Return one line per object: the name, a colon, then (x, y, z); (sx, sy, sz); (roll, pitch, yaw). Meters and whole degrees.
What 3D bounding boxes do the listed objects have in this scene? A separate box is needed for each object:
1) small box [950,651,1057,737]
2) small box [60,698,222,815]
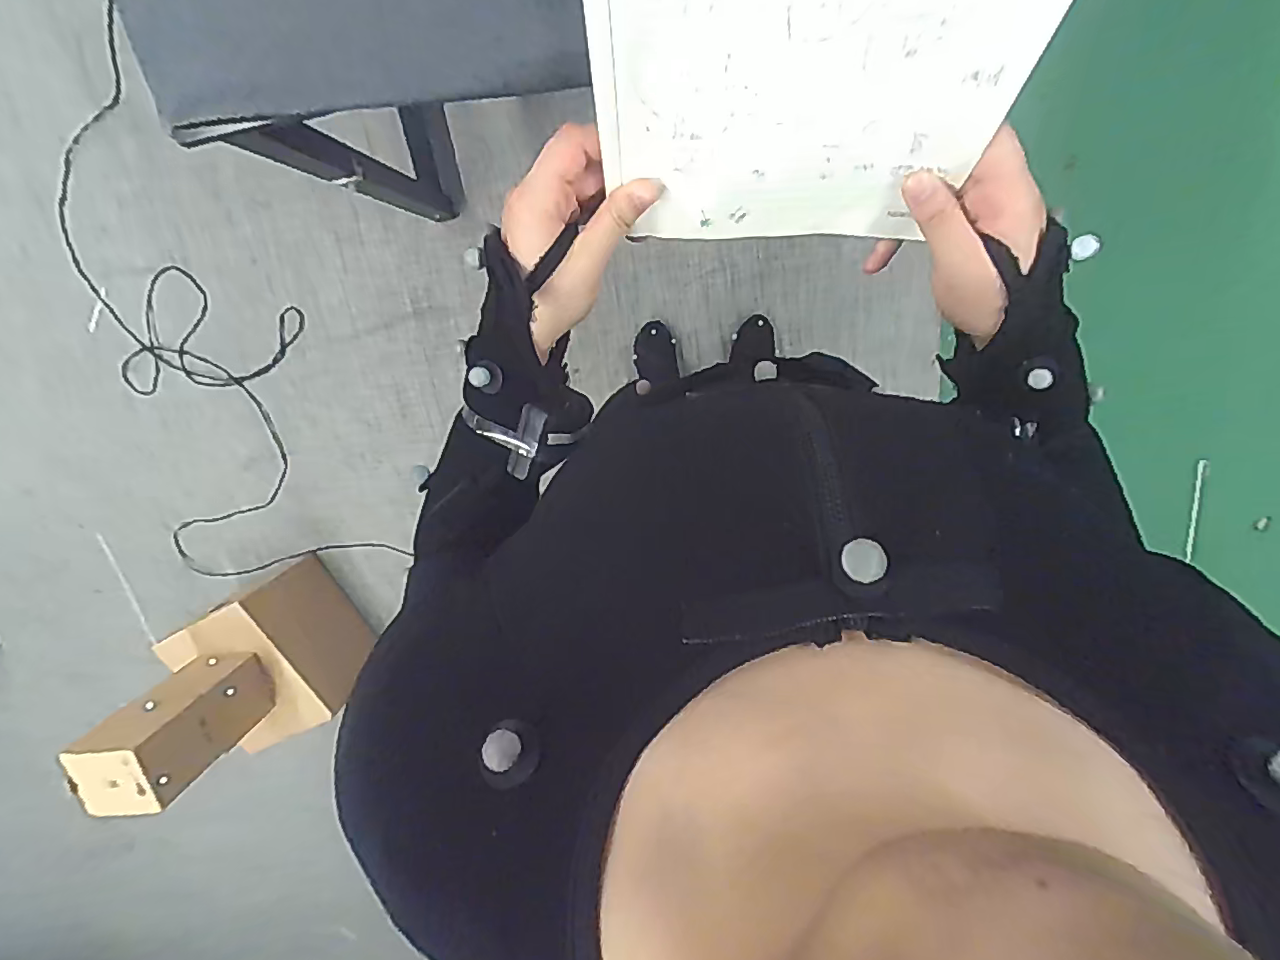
small box: (0.998, 0.597, 1.505); (0.179, 0.176, 0.168); (3, 108, 4)
small box: (-1.094, 0.607, 1.200); (0.179, 0.176, 0.168); (-6, 107, 7)
